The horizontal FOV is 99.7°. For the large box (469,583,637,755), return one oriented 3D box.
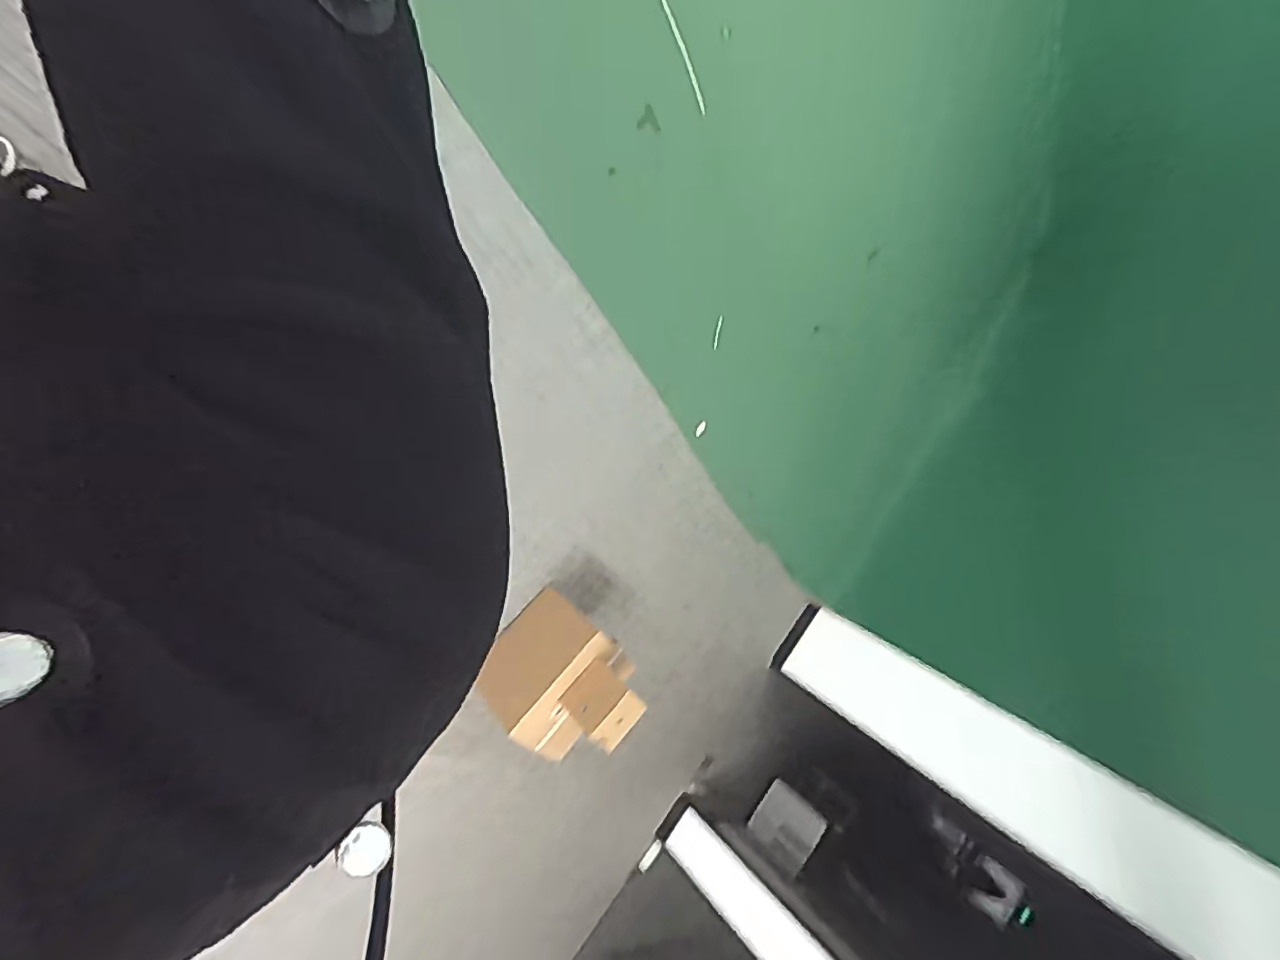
[{"bbox_3d":[-0.292,0.637,1.851,0.408,0.320,0.320,-47,135,-14],"label":"large box"}]

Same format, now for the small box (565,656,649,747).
[{"bbox_3d":[-0.110,0.691,1.693,0.179,0.176,0.168,-48,138,-16],"label":"small box"}]
